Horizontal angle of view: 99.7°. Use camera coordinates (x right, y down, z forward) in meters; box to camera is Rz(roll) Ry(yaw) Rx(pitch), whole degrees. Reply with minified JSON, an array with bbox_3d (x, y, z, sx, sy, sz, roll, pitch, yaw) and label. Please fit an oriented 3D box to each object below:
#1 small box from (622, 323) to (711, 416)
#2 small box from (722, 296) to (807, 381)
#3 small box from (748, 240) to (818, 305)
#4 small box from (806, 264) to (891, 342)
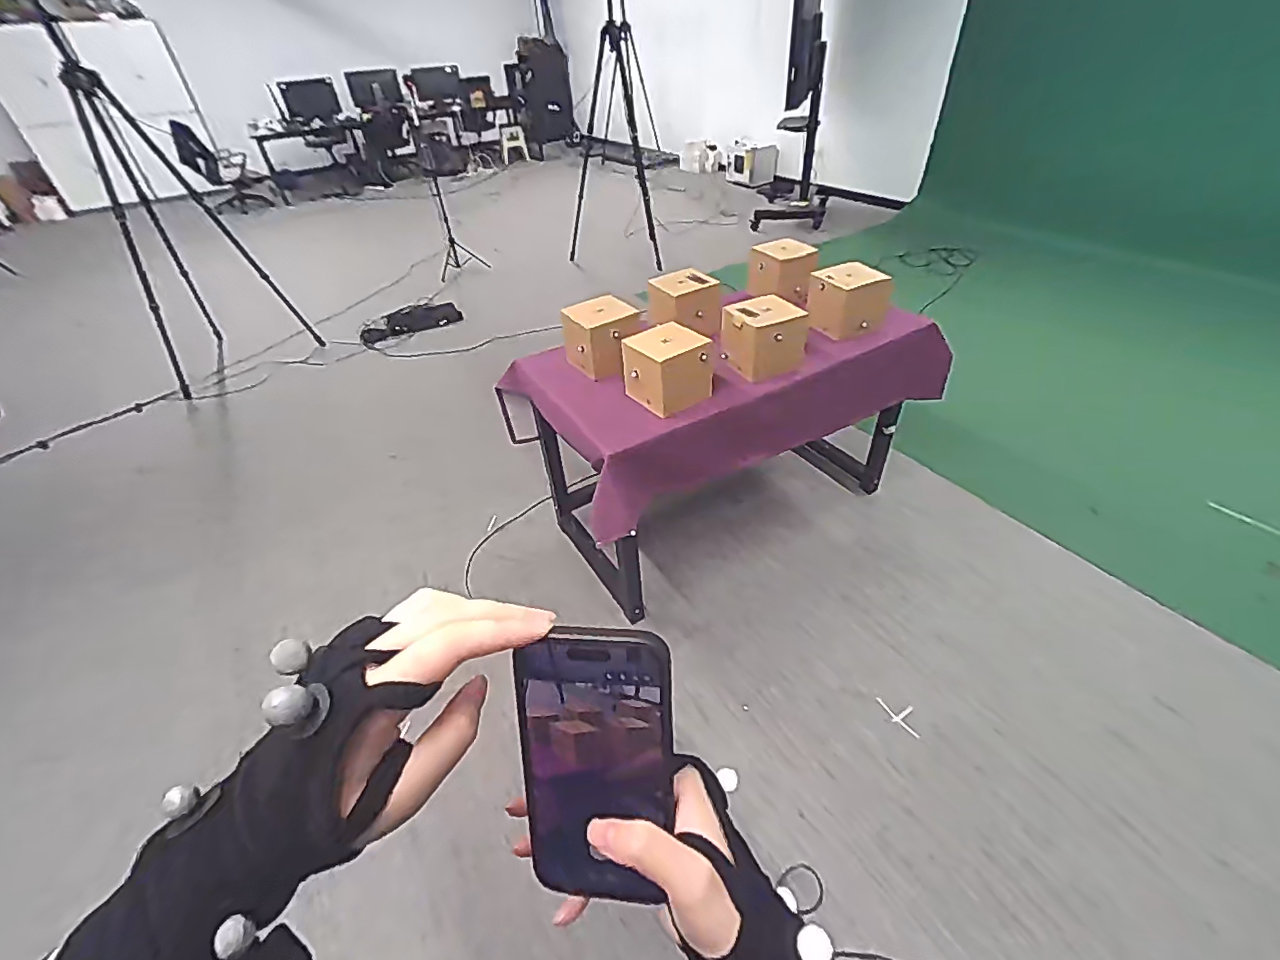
[{"bbox_3d":[0.074,-0.293,1.438,0.179,0.176,0.168,-27,45,-27],"label":"small box"},{"bbox_3d":[0.348,-0.402,1.543,0.179,0.176,0.168,-18,42,-18],"label":"small box"},{"bbox_3d":[0.497,-0.731,1.916,0.168,0.176,0.179,-21,44,-18],"label":"small box"},{"bbox_3d":[0.646,-0.557,1.701,0.179,0.176,0.168,-18,42,-17],"label":"small box"}]
